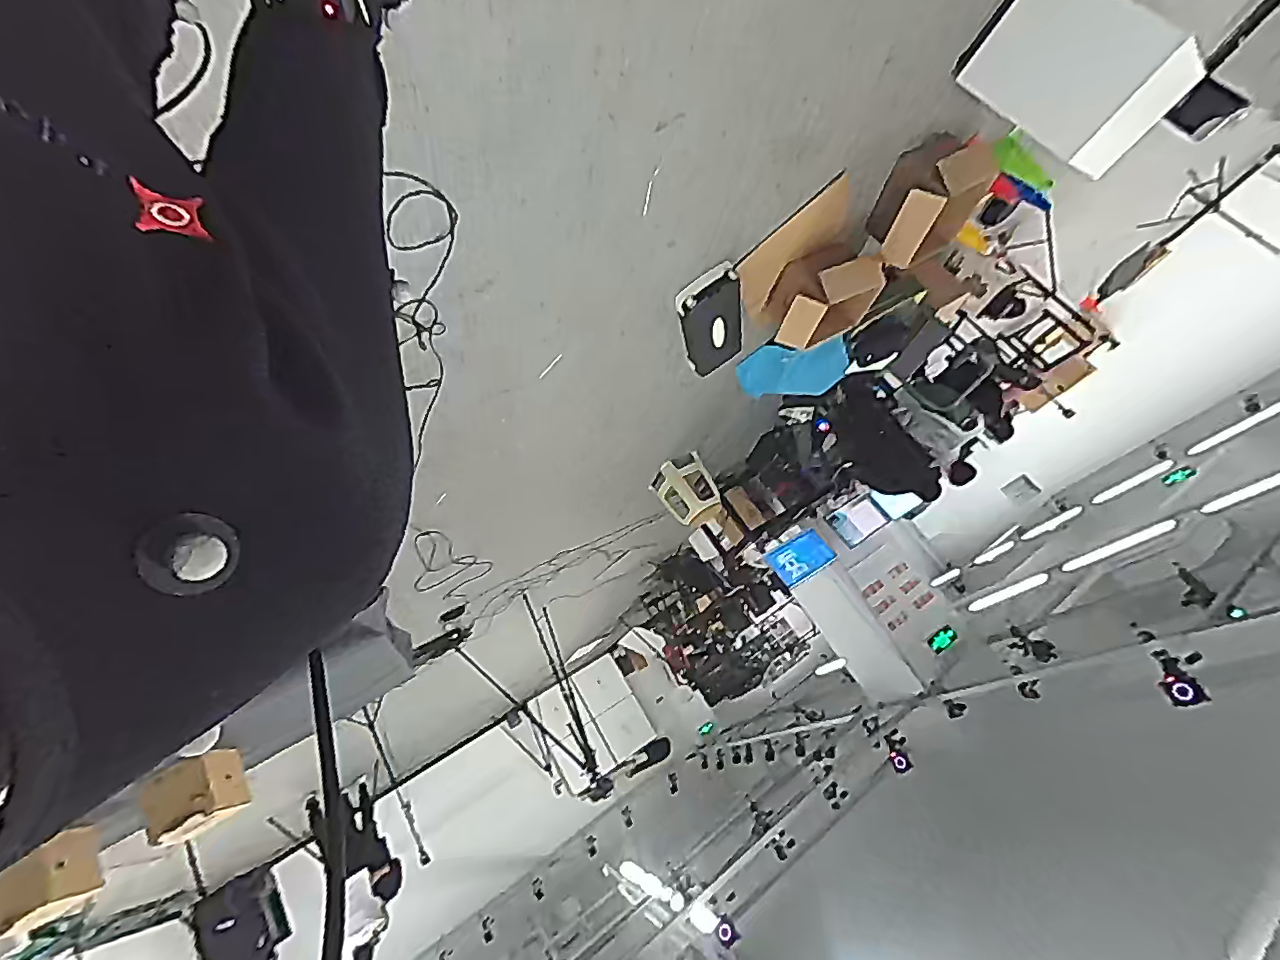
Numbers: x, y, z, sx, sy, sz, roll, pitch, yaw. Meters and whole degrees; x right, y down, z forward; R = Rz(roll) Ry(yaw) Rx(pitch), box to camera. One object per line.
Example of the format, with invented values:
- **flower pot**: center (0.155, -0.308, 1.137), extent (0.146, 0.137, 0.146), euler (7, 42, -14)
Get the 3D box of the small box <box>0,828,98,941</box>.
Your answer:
- **small box**: center (-1.525, 1.007, 1.345), extent (0.168, 0.176, 0.179), euler (-27, 161, -18)
